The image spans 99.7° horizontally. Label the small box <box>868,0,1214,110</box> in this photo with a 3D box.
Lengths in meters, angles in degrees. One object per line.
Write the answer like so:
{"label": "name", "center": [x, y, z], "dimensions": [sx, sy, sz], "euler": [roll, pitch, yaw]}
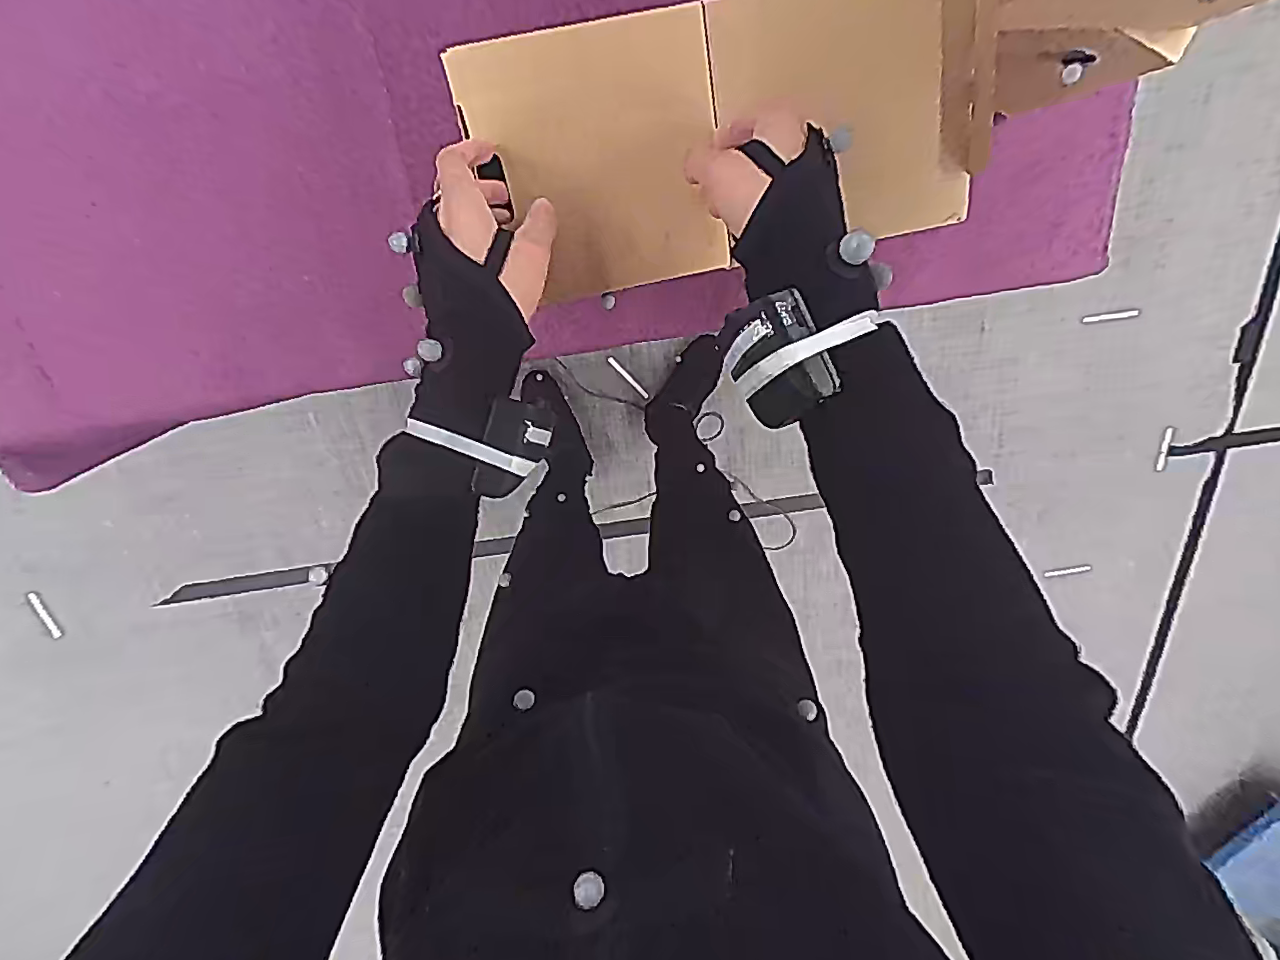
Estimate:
{"label": "small box", "center": [0.319, -0.417, 0.417], "dimensions": [0.179, 0.176, 0.168], "euler": [15, 110, -12]}
